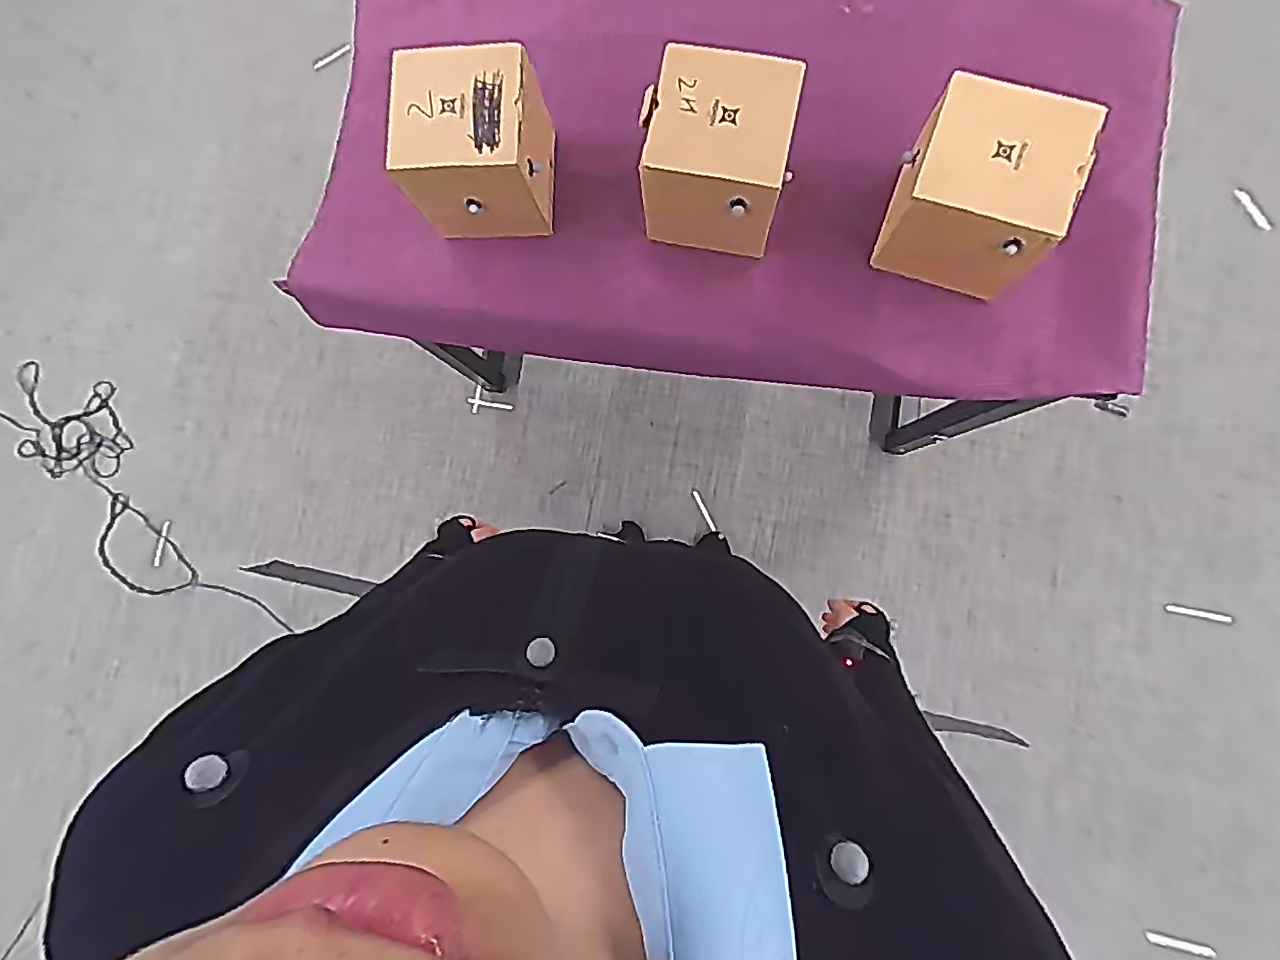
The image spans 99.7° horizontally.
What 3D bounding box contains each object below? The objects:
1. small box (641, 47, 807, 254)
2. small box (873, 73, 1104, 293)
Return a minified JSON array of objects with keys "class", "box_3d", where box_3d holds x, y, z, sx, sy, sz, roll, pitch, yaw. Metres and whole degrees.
[{"class":"small box","box_3d":[0.108,-0.432,0.735,0.179,0.176,0.168,12,85,6]},{"class":"small box","box_3d":[0.431,-0.369,0.701,0.179,0.176,0.168,19,87,7]}]
